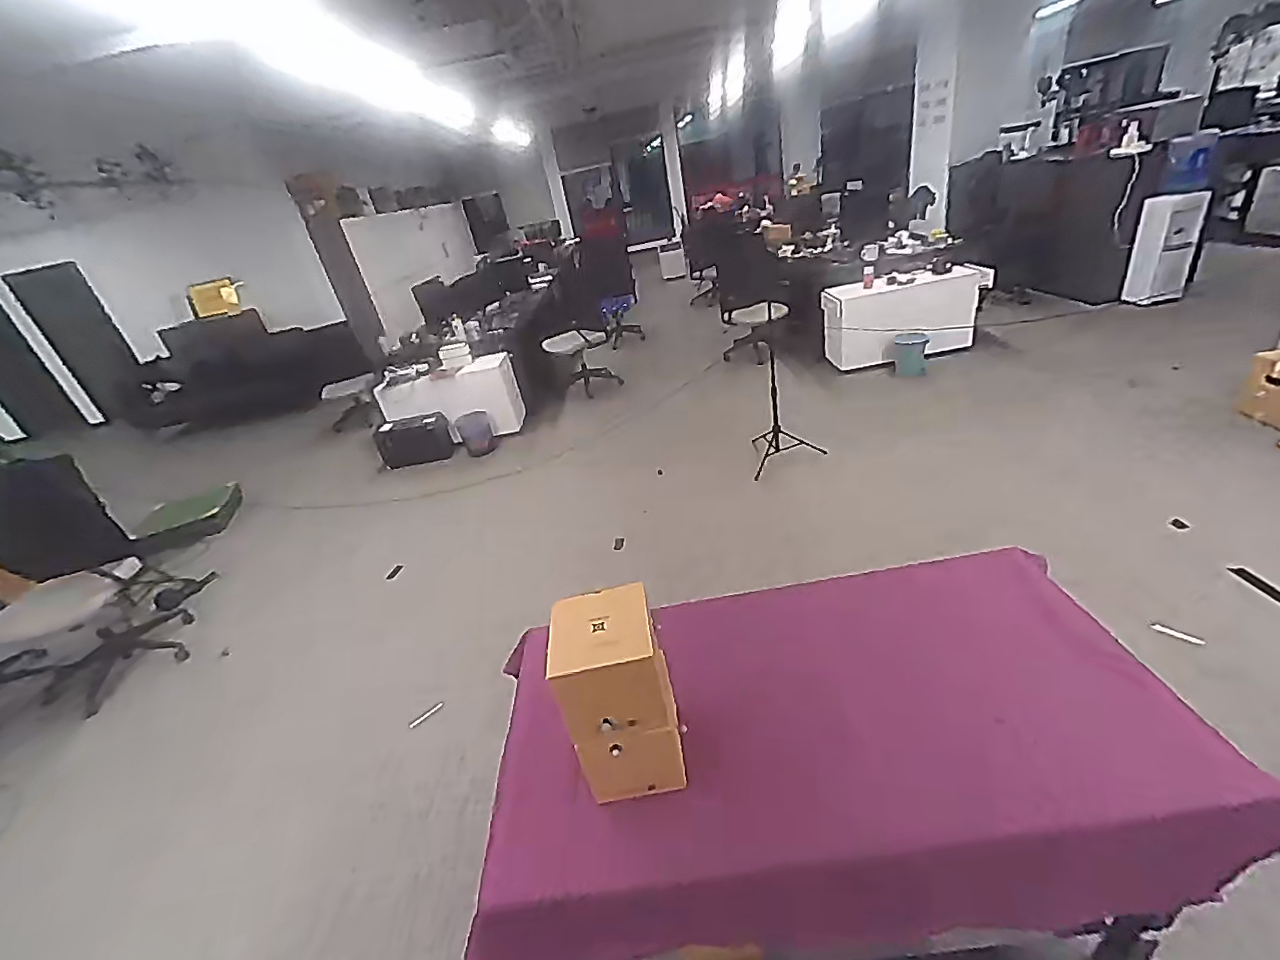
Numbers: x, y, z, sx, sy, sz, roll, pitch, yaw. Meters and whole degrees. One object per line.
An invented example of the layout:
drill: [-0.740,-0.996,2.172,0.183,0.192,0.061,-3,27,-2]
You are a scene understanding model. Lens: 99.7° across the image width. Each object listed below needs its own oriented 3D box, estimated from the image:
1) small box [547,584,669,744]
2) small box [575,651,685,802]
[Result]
small box: [-0.051,0.306,0.912,0.168,0.176,0.179,-11,29,1]
small box: [-0.016,0.447,0.988,0.168,0.176,0.179,-11,28,2]
